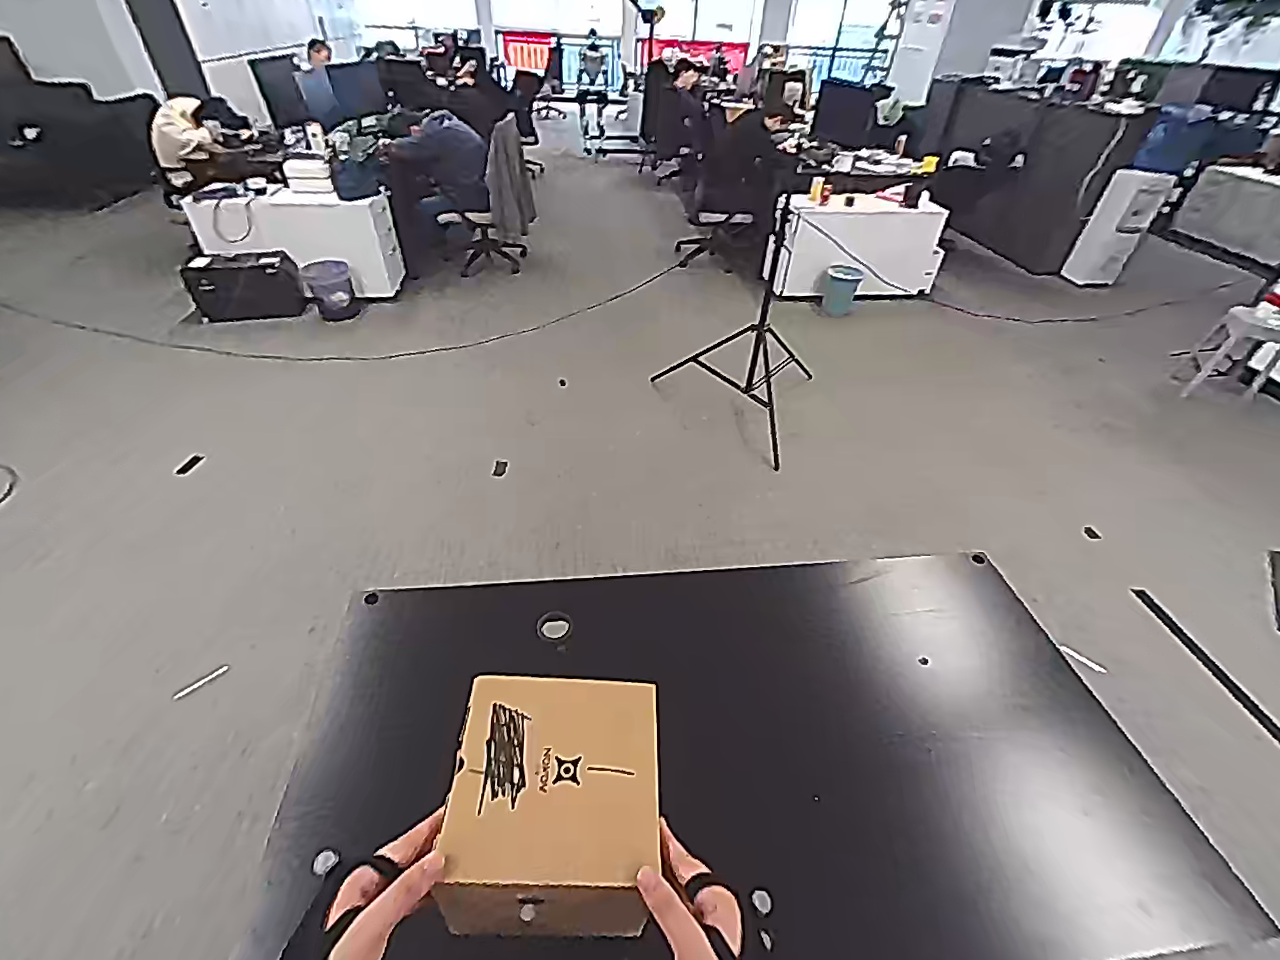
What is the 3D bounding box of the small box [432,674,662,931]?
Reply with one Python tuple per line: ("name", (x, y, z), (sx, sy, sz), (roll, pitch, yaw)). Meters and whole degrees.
("small box", (-0.077, 0.307, 0.515), (0.179, 0.176, 0.168), (4, 40, -5))
